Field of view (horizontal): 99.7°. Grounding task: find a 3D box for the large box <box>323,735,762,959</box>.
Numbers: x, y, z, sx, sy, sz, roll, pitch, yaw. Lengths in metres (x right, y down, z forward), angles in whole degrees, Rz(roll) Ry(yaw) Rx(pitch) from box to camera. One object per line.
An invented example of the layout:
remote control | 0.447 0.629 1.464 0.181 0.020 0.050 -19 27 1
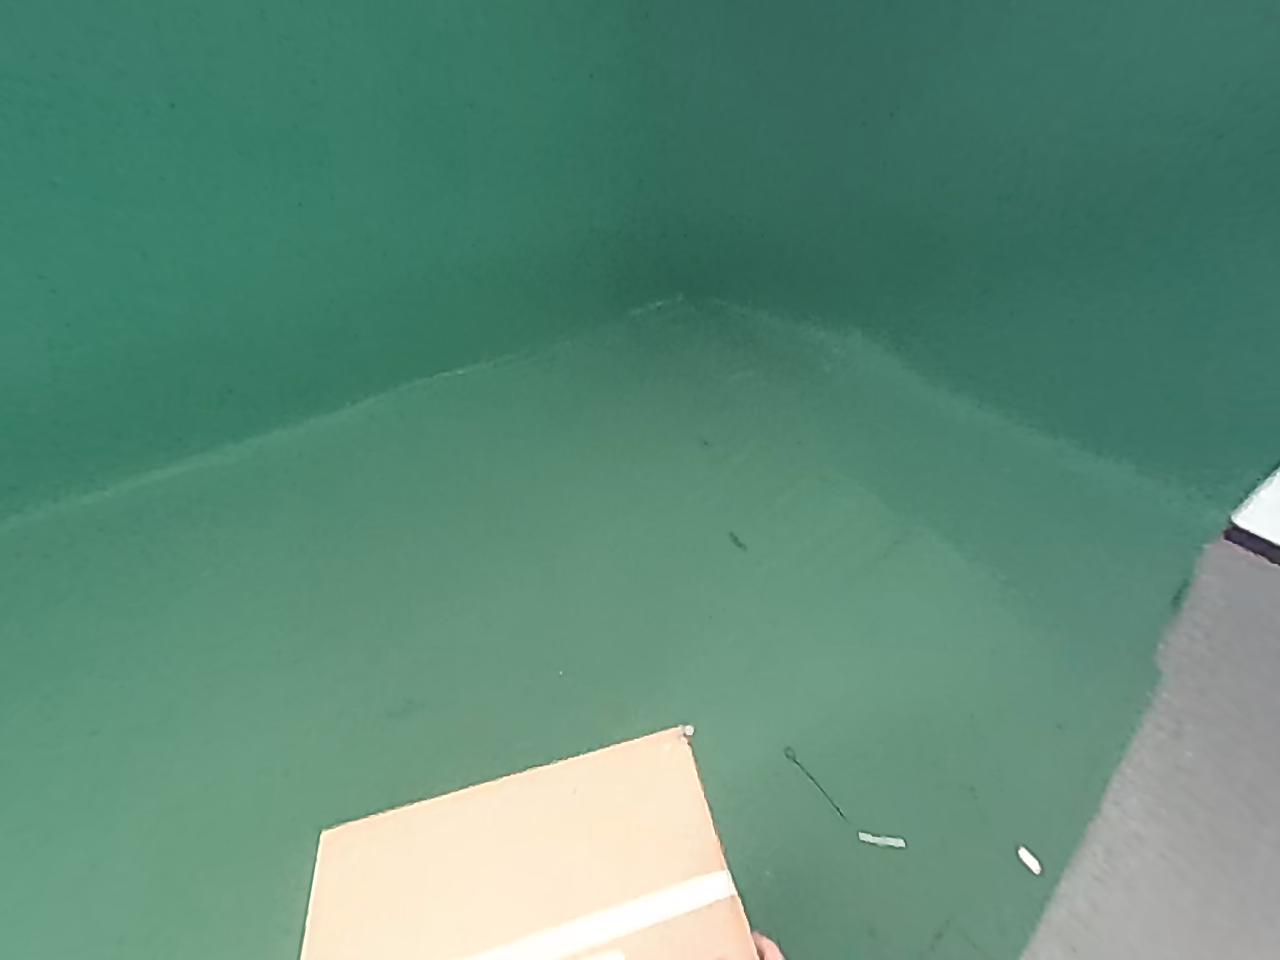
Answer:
large box | -0.090 0.551 0.604 0.408 0.320 0.320 -11 45 -9
